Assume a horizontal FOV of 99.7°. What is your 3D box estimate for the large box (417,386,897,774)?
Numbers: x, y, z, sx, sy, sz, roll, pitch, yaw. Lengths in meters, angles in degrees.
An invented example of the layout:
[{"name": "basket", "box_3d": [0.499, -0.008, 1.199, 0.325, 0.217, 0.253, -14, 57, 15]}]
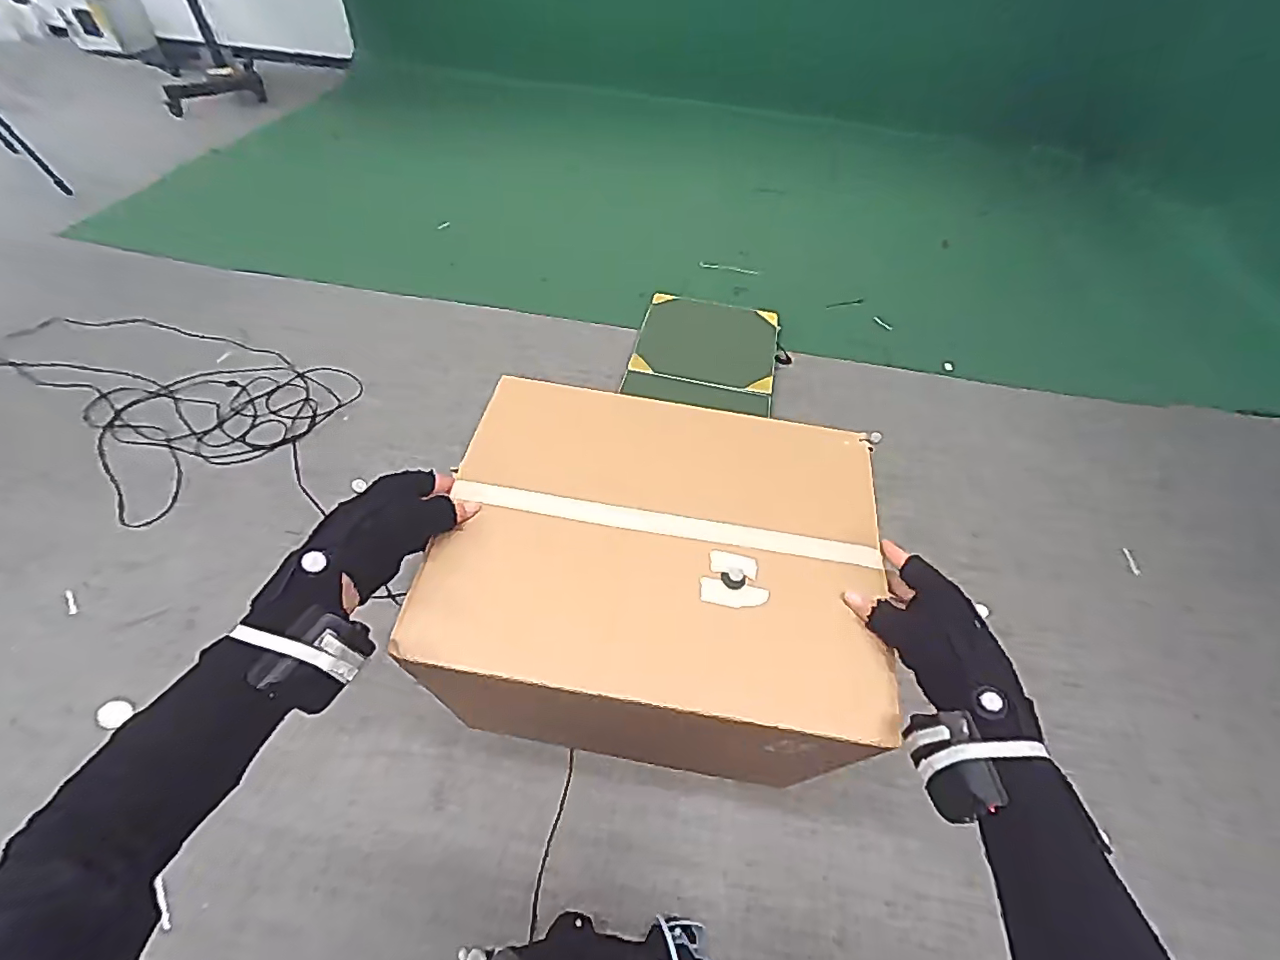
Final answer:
[{"name": "large box", "box_3d": [0.019, 0.130, 0.640, 0.408, 0.320, 0.320, 10, 56, 1]}]
